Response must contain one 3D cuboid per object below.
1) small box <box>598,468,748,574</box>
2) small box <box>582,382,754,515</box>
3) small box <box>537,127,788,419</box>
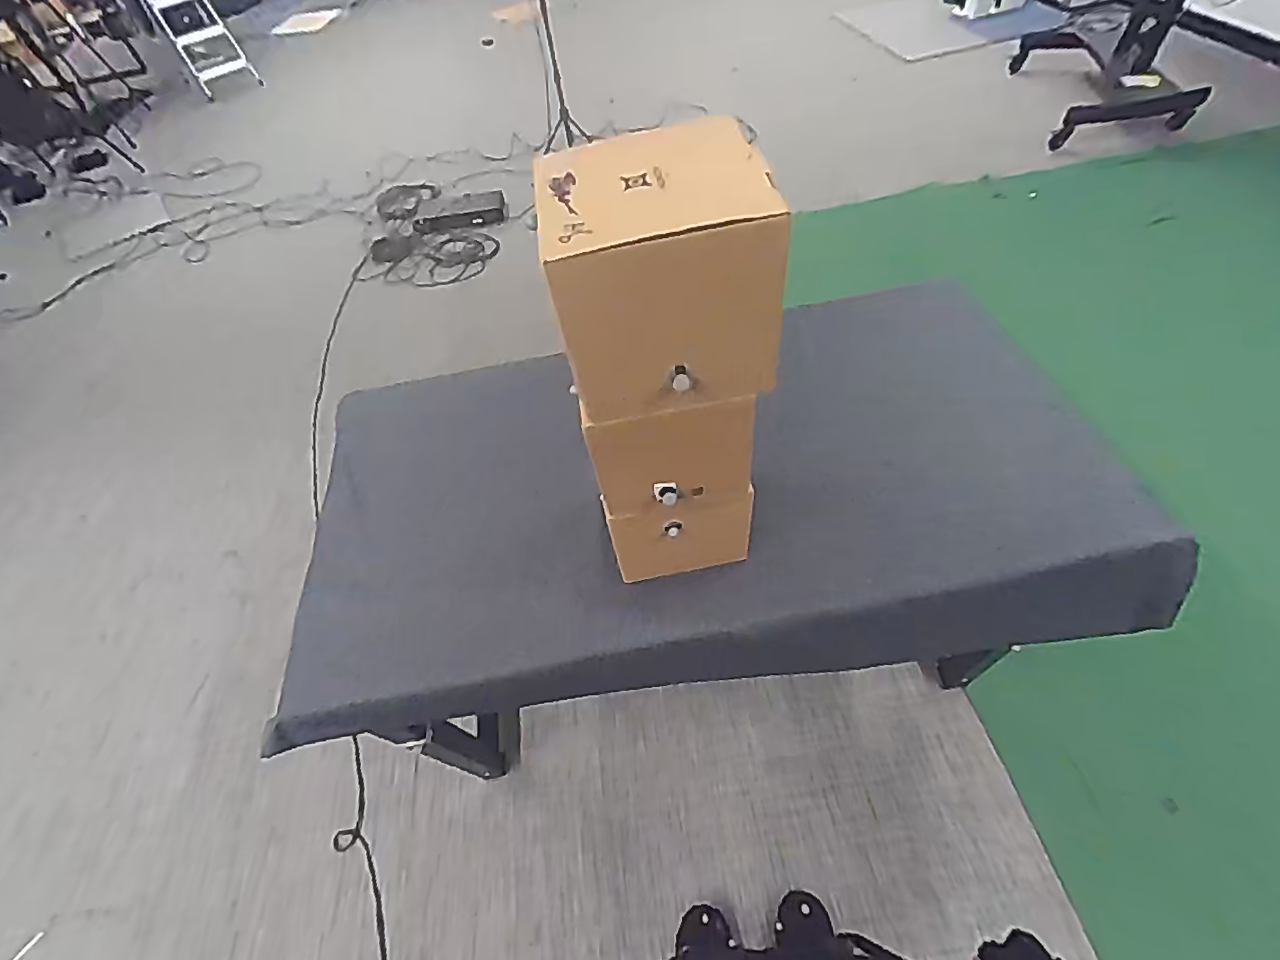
[{"bbox_3d":[0.040,0.013,0.747,0.179,0.176,0.168,-11,53,-2],"label":"small box"},{"bbox_3d":[0.025,-0.085,0.619,0.168,0.176,0.179,-11,55,1],"label":"small box"},{"bbox_3d":[0.015,-0.178,0.485,0.179,0.176,0.168,-11,53,0],"label":"small box"}]
